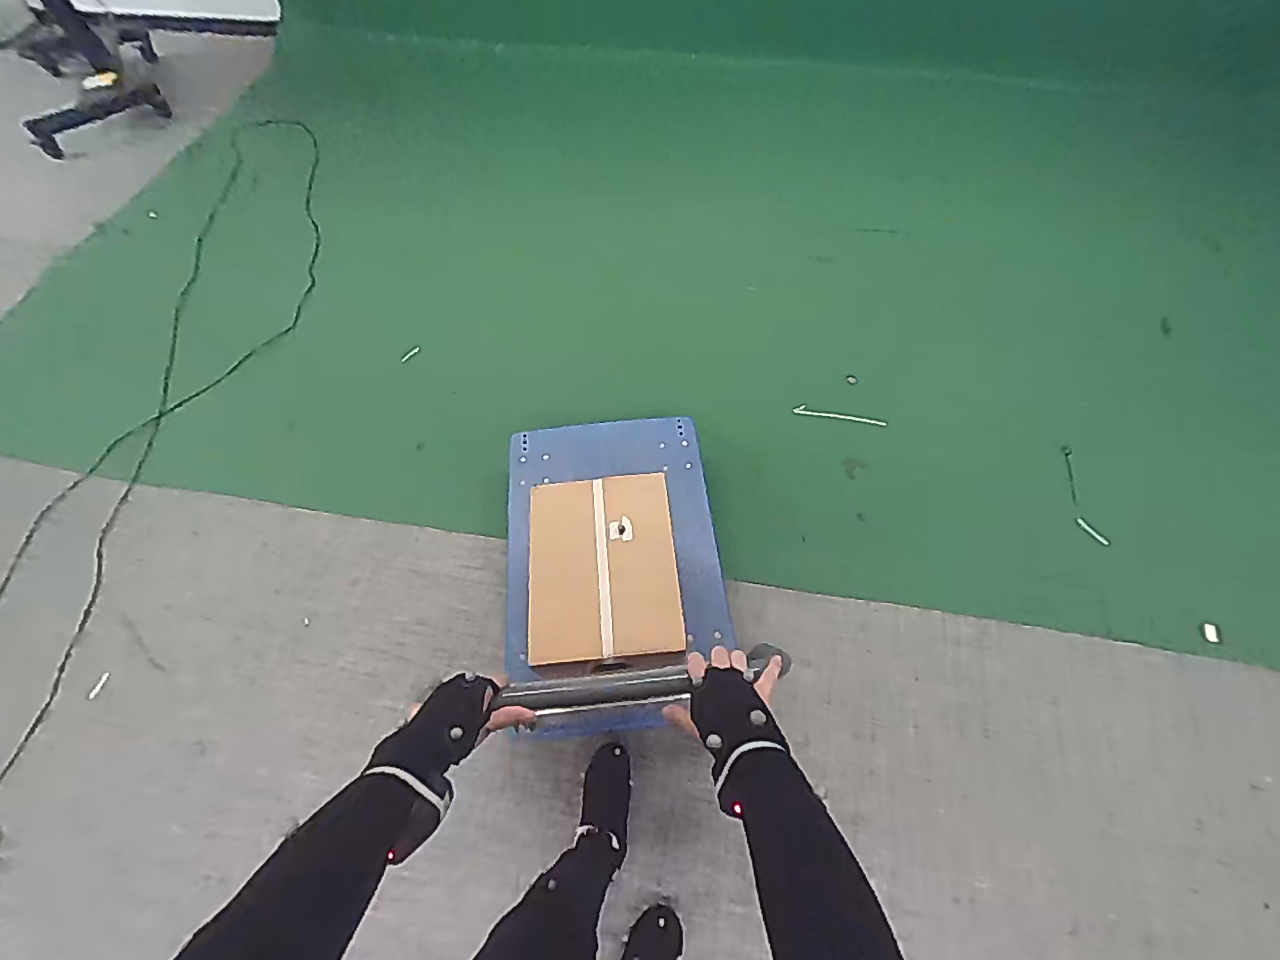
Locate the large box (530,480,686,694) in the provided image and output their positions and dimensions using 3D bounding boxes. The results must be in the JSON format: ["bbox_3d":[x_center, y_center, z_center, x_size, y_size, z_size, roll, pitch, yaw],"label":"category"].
[{"bbox_3d":[-0.075,0.262,1.293,0.320,0.320,0.408,-5,59,-1],"label":"large box"}]
